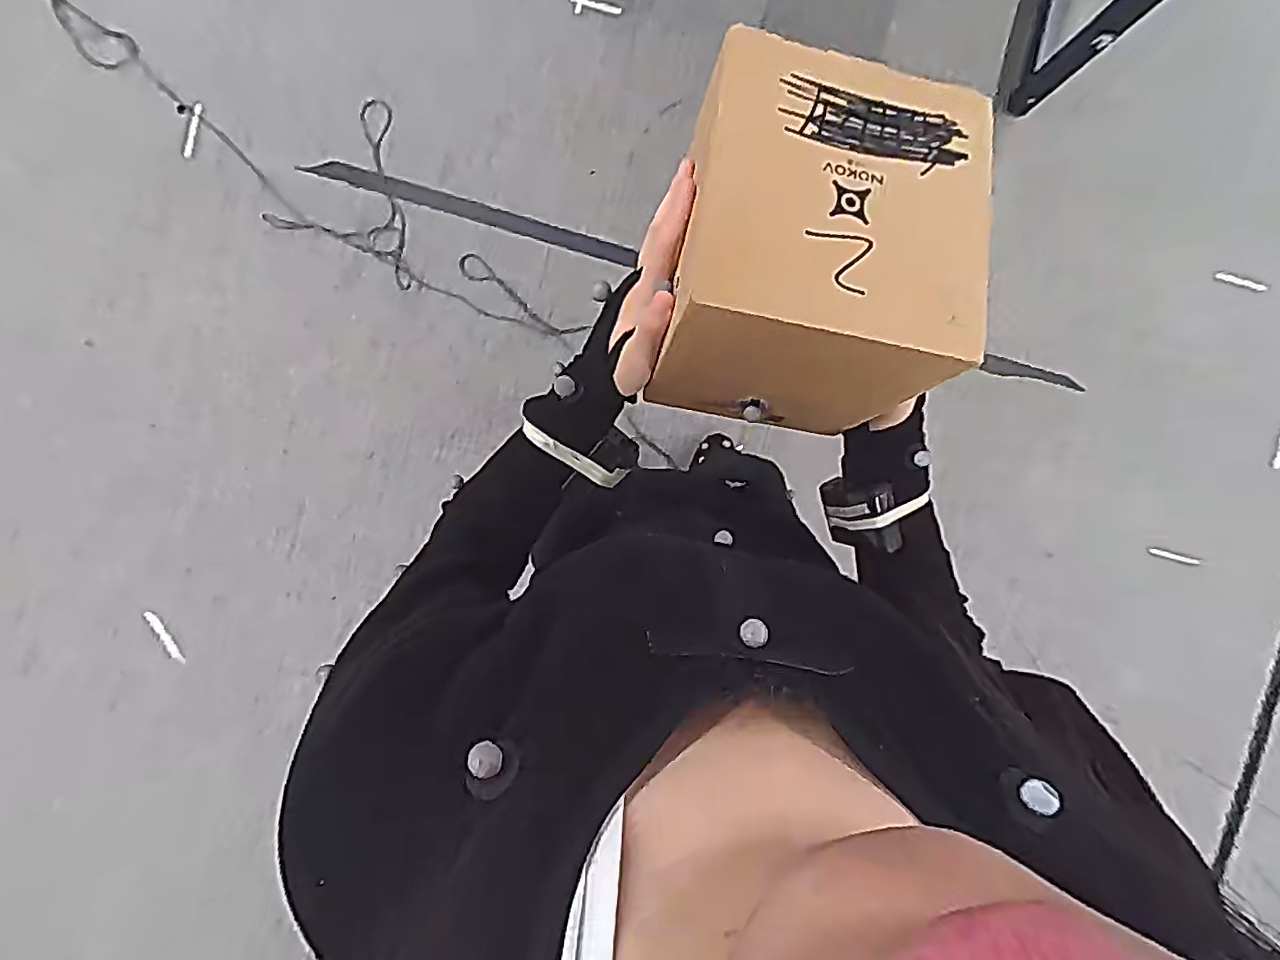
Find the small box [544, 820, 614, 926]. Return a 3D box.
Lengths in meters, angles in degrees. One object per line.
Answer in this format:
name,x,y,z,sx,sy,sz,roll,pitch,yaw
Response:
small box,-0.168,1.042,1.441,0.179,0.176,0.168,8,92,-4
